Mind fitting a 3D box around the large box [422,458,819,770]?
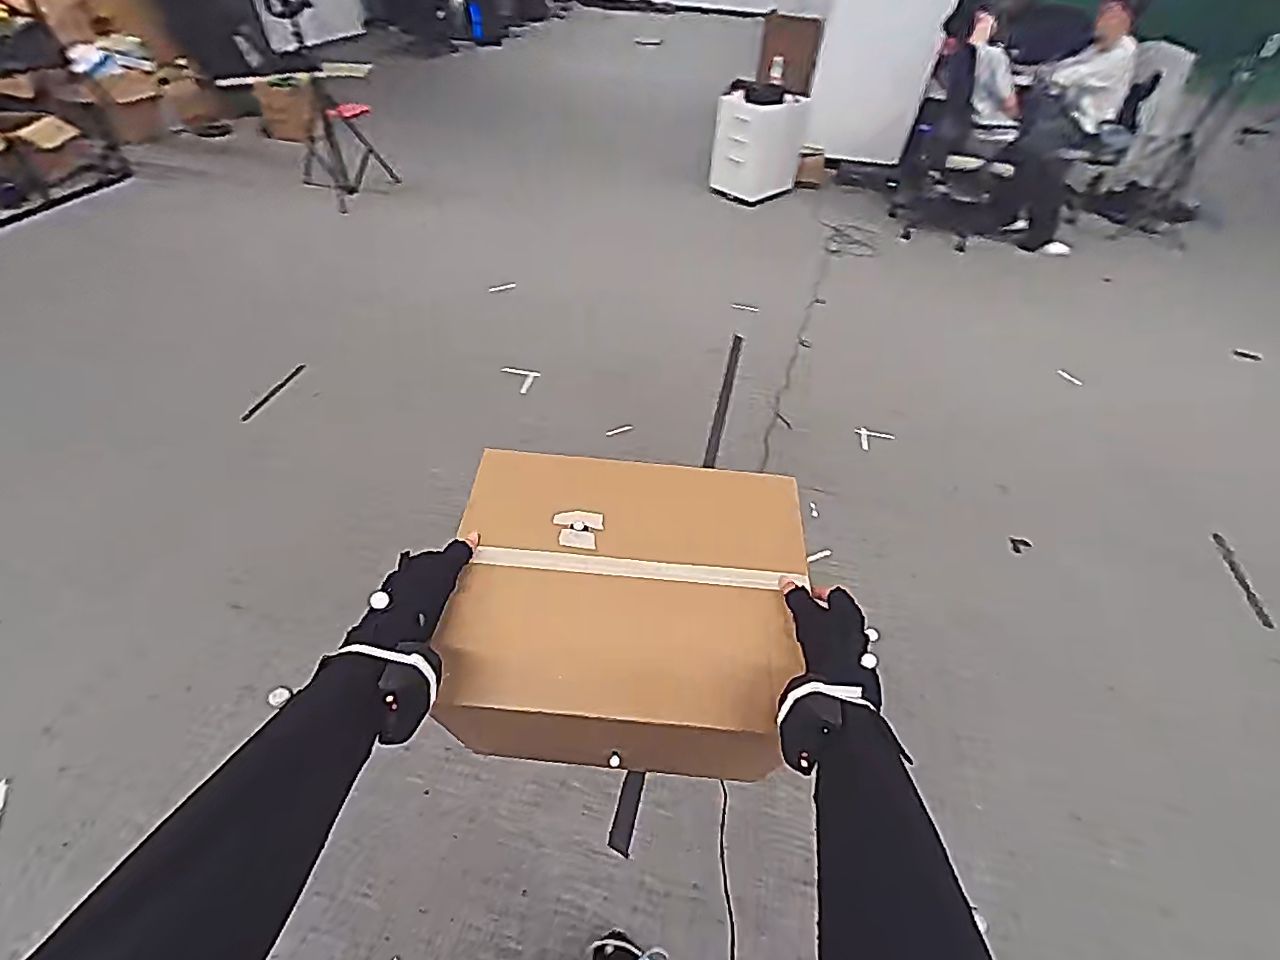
[{"bbox_3d":[-0.013,0.195,0.740,0.408,0.320,0.320,5,54,1],"label":"large box"}]
